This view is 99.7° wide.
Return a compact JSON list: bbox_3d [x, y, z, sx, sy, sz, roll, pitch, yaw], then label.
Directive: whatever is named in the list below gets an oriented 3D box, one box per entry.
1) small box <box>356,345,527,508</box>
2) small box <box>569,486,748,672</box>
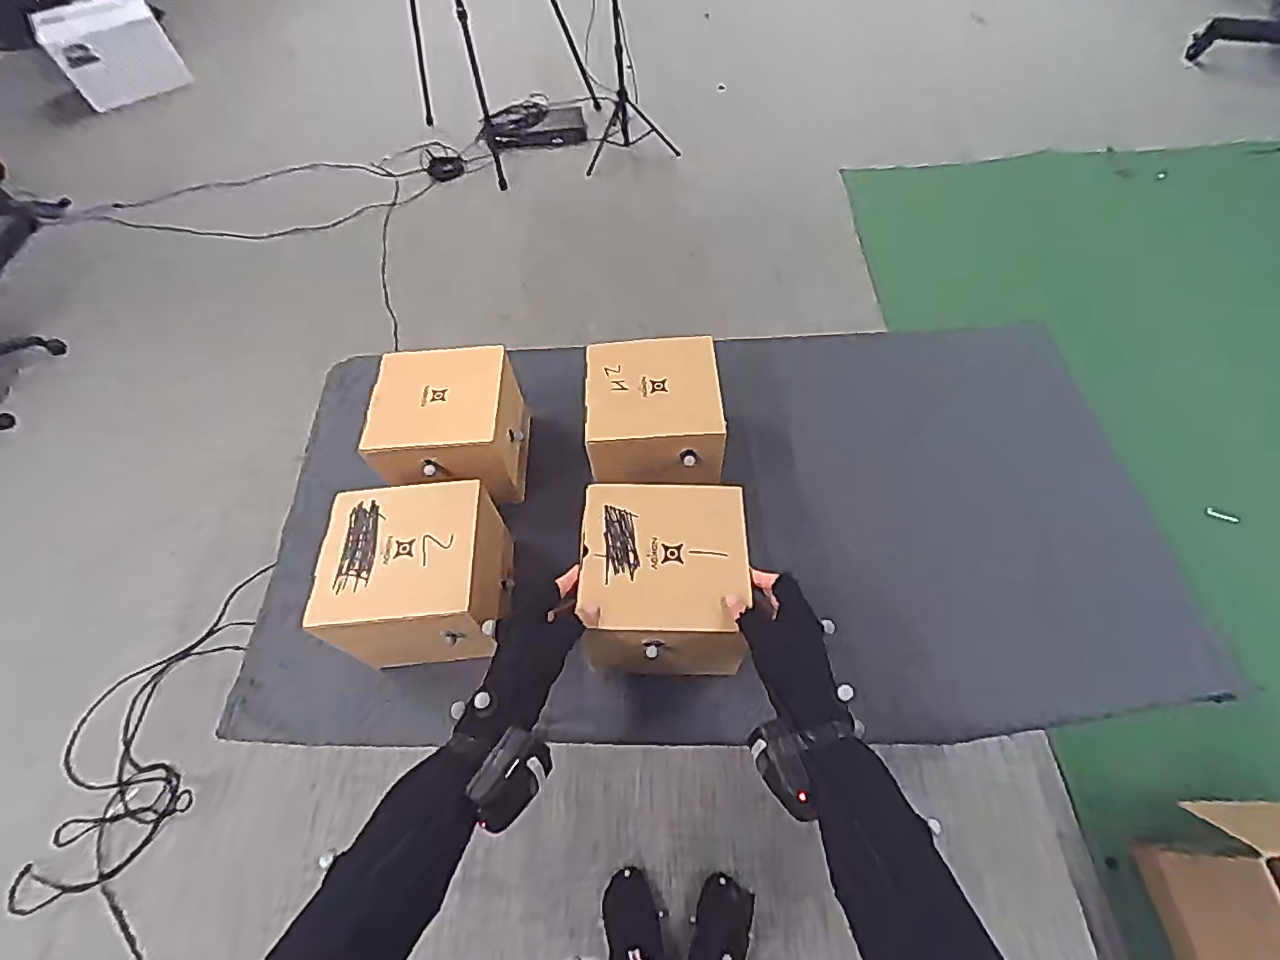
[{"bbox_3d":[-0.269,-0.071,0.783,0.179,0.176,0.168,-4,60,2],"label":"small box"},{"bbox_3d":[0.023,0.120,0.627,0.179,0.176,0.168,0,58,2],"label":"small box"}]
